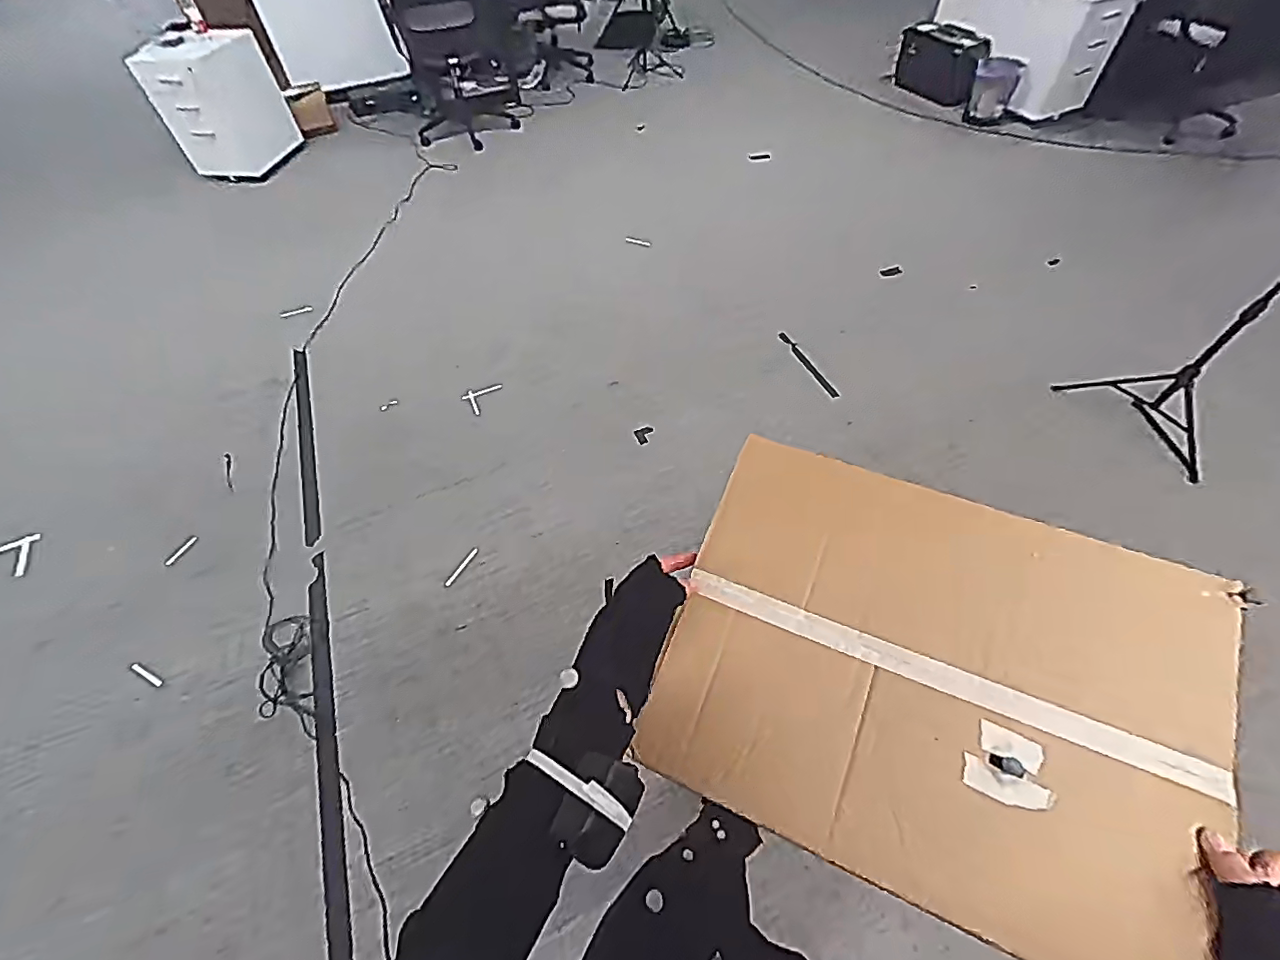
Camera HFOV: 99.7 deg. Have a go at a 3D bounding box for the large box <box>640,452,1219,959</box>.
[{"bbox_3d":[0.254,0.220,0.584,0.408,0.320,0.320,20,71,16],"label":"large box"}]
